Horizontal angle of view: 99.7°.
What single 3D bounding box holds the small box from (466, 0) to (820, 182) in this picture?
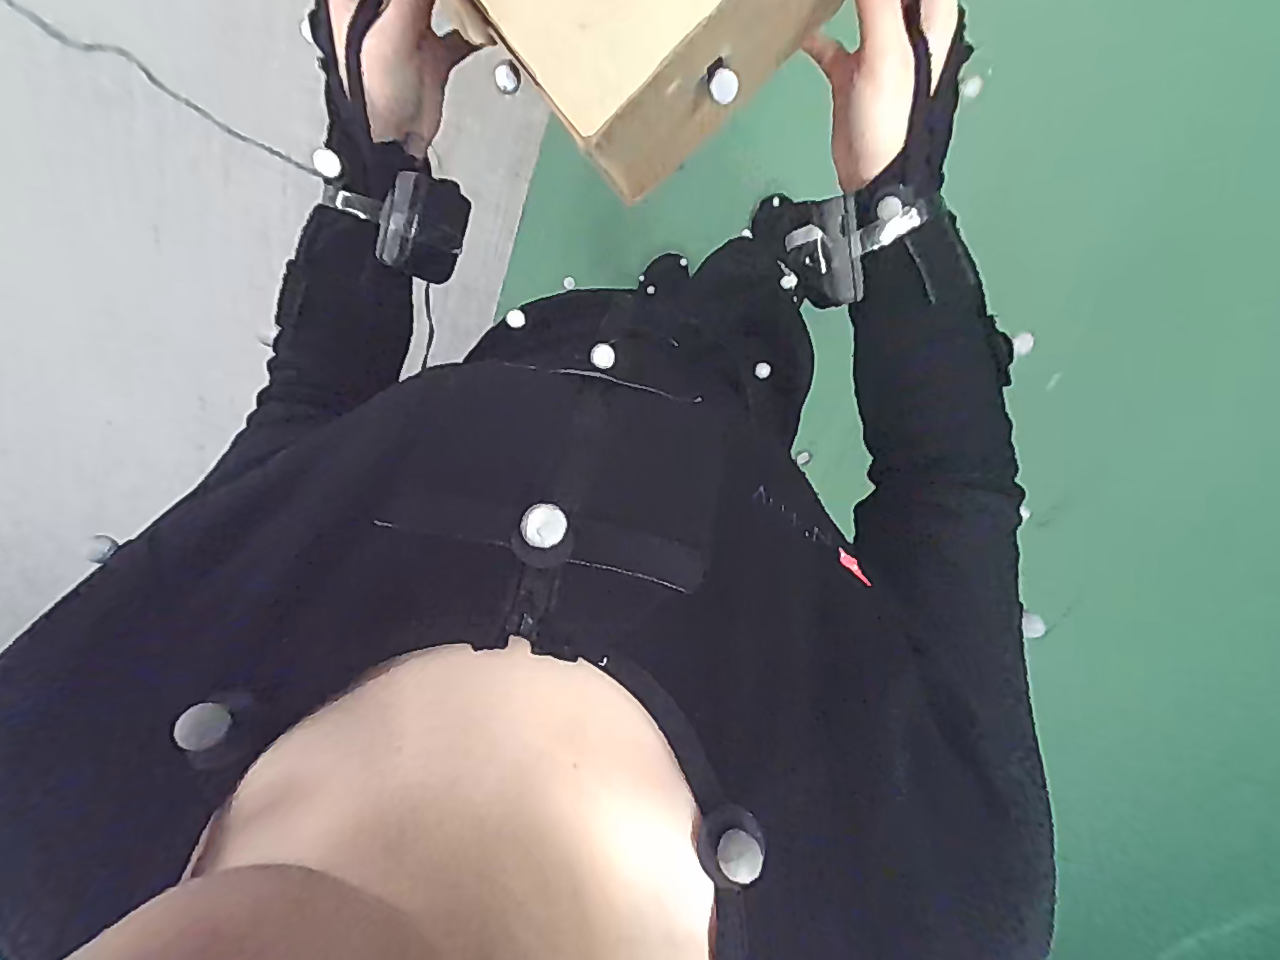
[{"bbox_3d":[-0.003,-0.286,0.272,0.179,0.176,0.168,-38,101,18],"label":"small box"}]
